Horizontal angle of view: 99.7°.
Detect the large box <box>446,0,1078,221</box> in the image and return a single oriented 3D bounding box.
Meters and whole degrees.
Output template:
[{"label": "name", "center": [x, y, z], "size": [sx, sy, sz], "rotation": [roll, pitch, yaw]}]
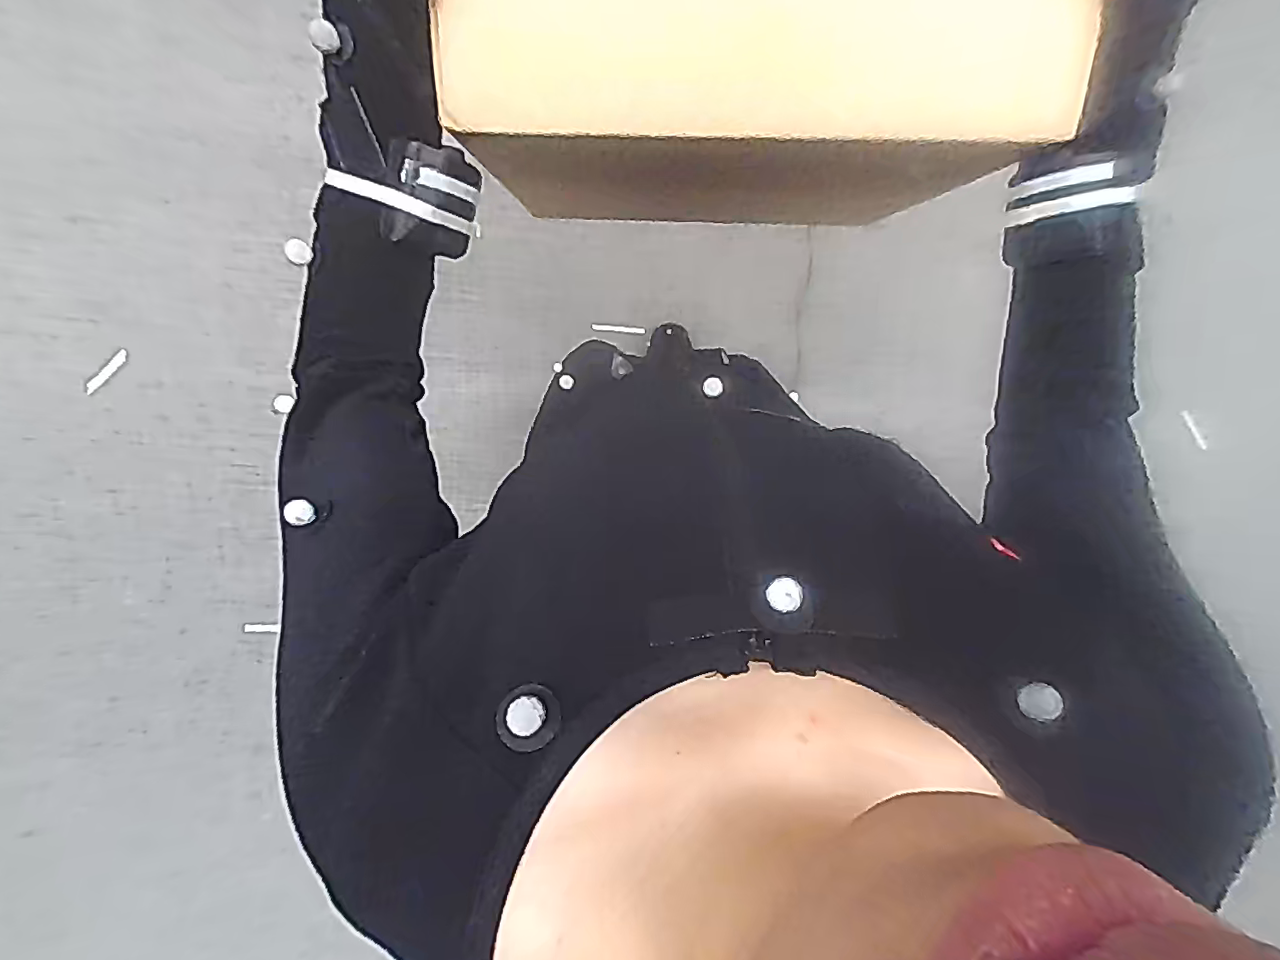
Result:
[{"label": "large box", "center": [0.073, -0.419, 0.459], "size": [0.408, 0.320, 0.320], "rotation": [0, 106, -1]}]
